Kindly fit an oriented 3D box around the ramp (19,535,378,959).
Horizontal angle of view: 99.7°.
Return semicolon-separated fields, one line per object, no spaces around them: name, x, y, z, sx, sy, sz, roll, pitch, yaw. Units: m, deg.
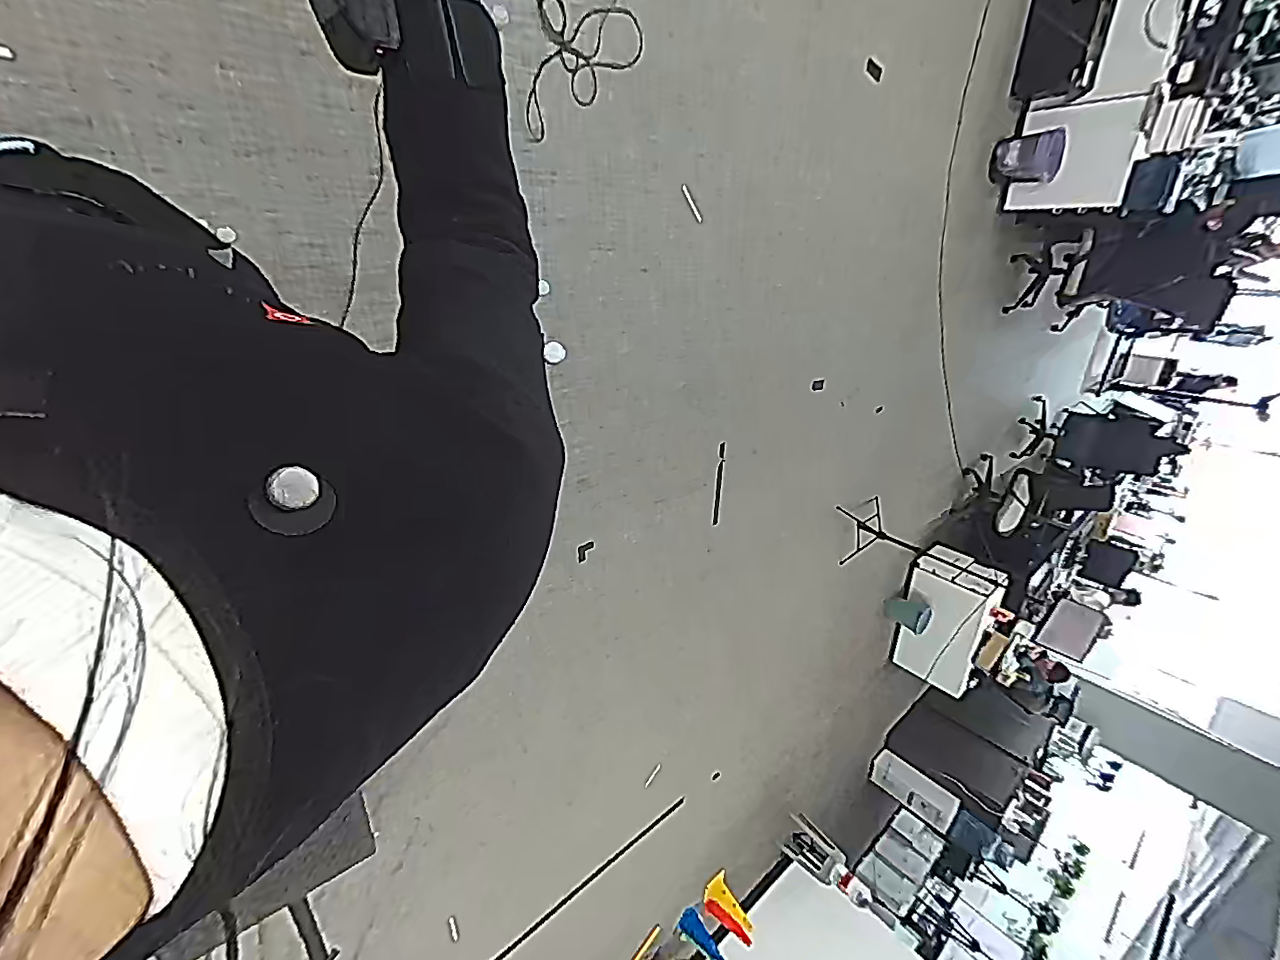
ramp;-1.007;0.666;1.333;0.509;0.206;0.991;-17;119;-35
